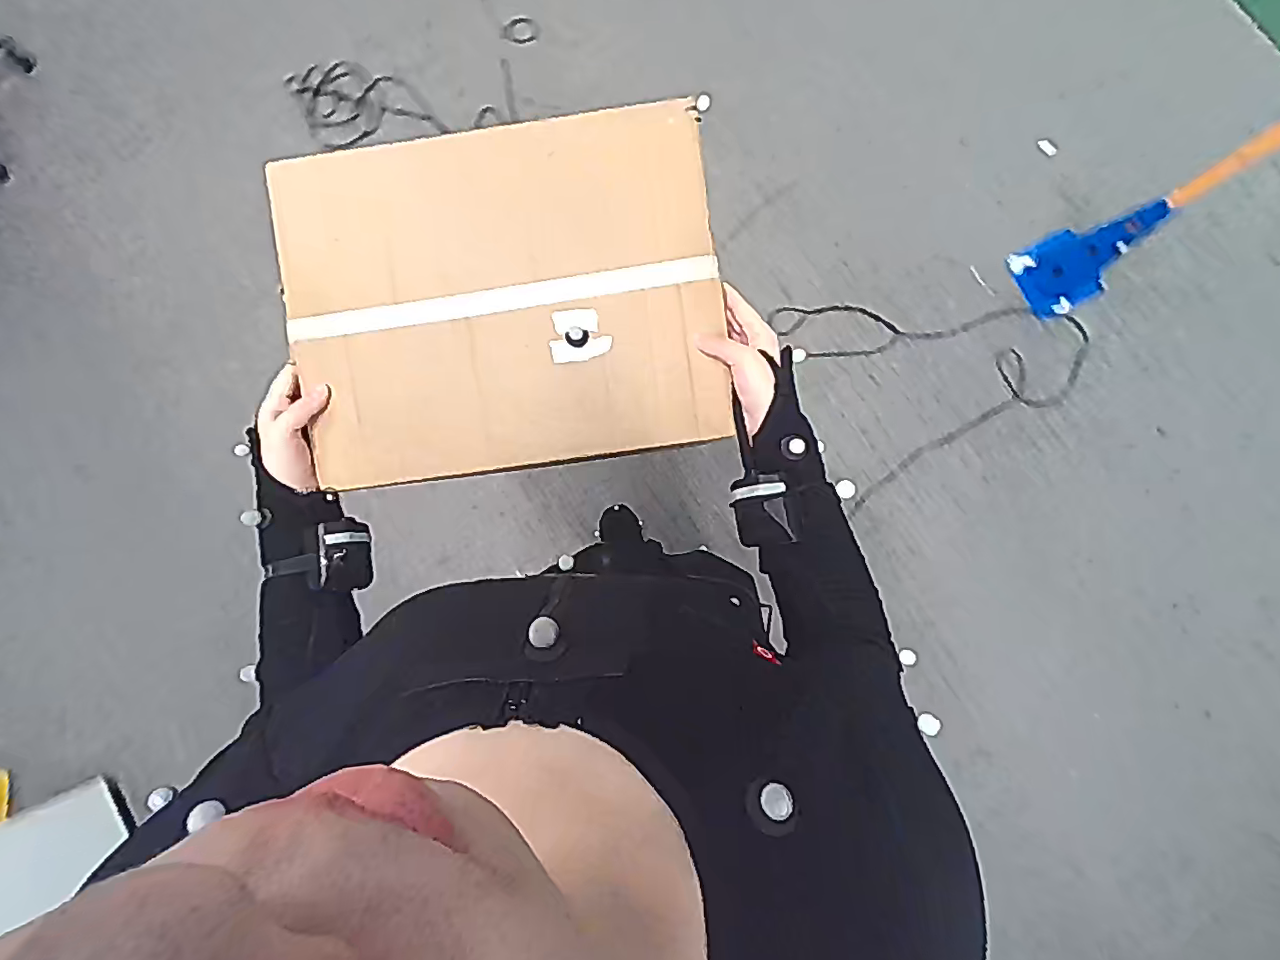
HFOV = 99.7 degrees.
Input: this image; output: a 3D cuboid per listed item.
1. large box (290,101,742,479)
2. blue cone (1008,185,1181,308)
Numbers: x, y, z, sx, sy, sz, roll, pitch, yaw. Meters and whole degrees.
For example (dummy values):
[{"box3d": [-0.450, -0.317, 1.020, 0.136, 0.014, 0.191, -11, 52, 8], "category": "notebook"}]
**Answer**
[{"box3d": [-0.117, -0.183, 0.661, 0.408, 0.320, 0.320, -7, 93, 1], "category": "large box"}, {"box3d": [1.112, -0.588, 1.312, 0.192, 0.380, 0.193, -26, 86, 2], "category": "blue cone"}]
